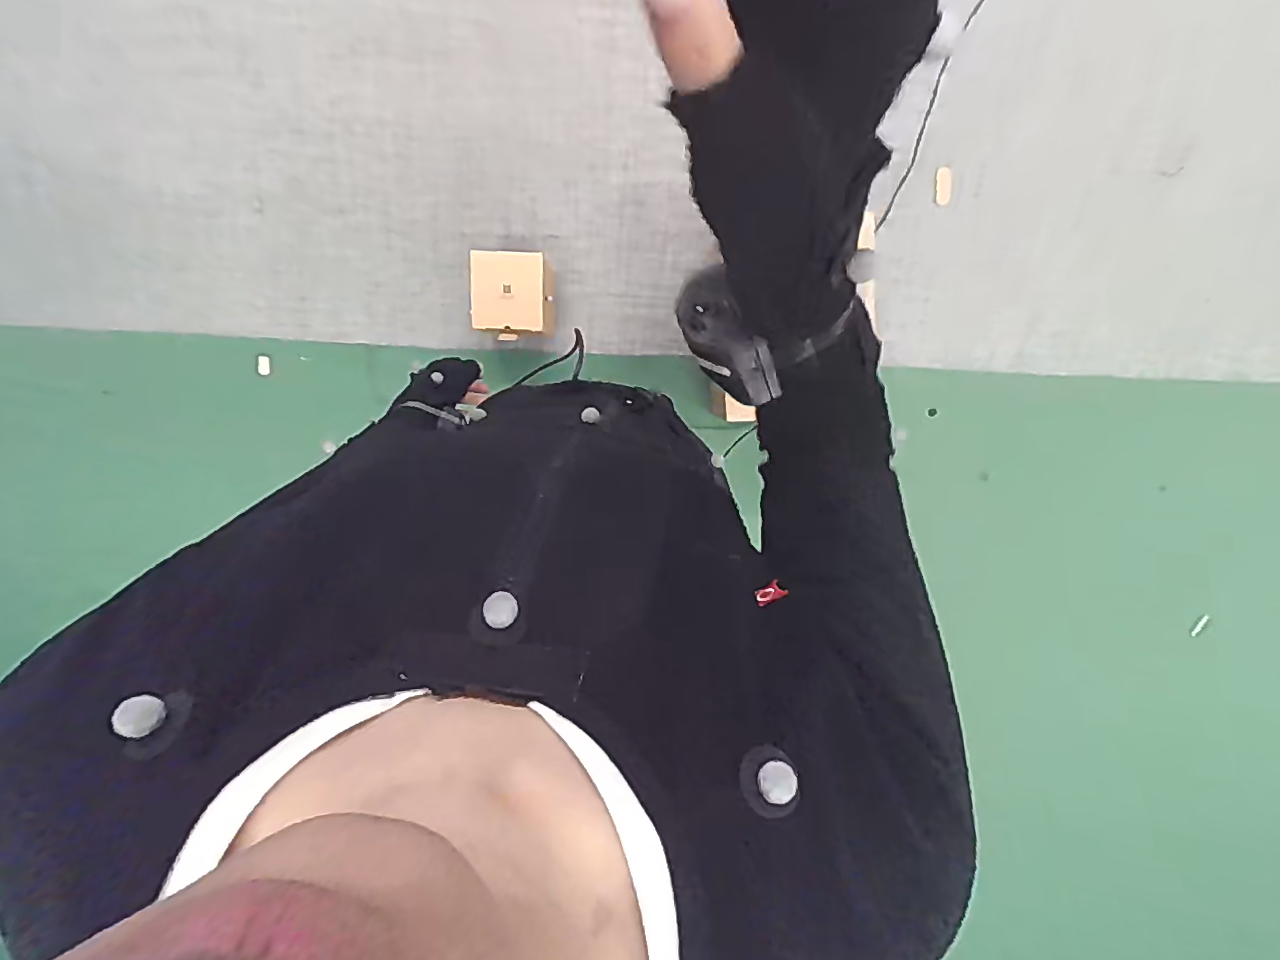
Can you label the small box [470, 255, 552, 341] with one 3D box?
[{"bbox_3d":[-0.311,-0.439,1.326,0.168,0.176,0.179,1,100,0],"label":"small box"}]
